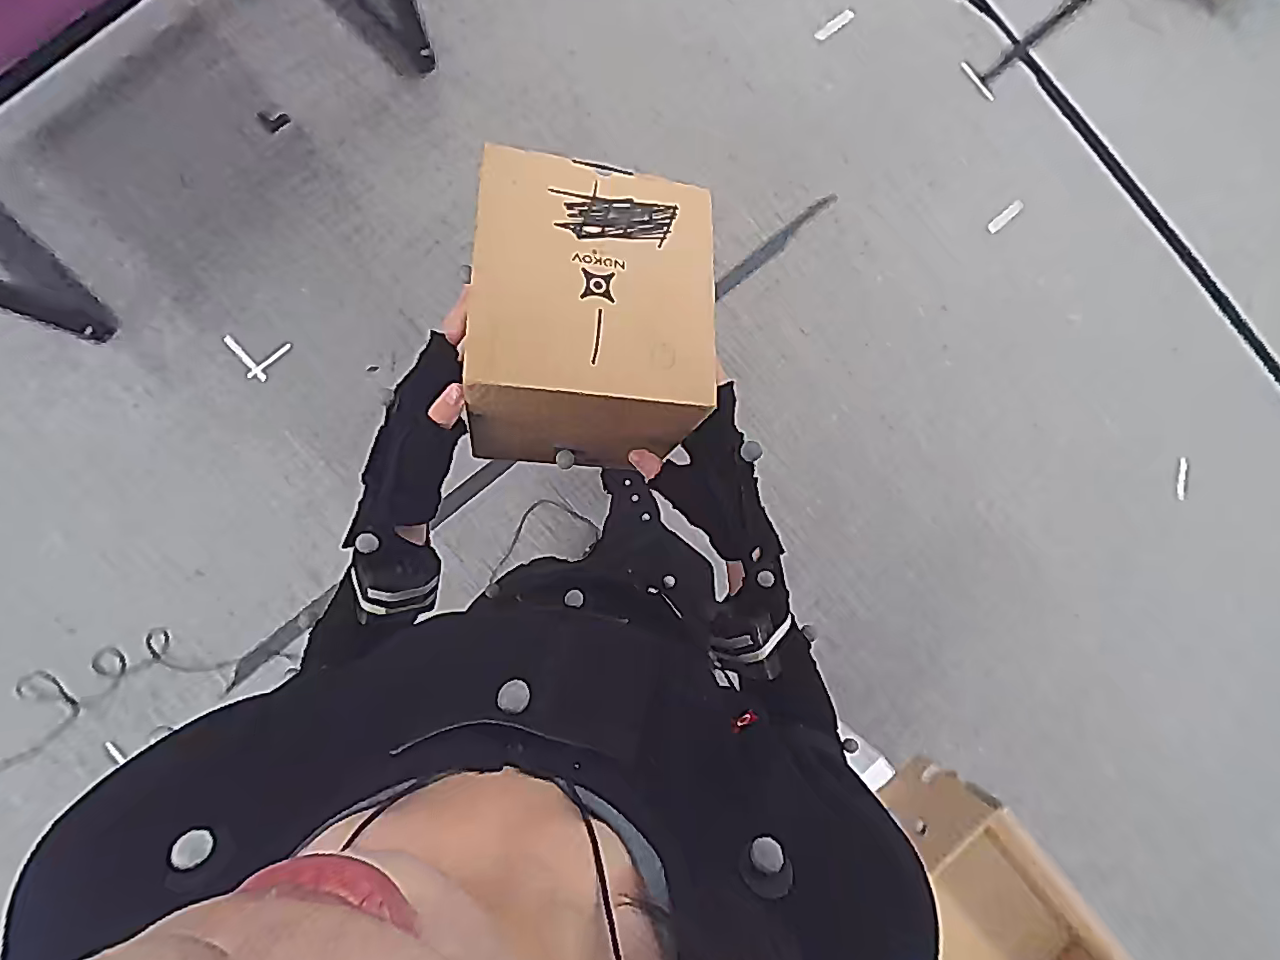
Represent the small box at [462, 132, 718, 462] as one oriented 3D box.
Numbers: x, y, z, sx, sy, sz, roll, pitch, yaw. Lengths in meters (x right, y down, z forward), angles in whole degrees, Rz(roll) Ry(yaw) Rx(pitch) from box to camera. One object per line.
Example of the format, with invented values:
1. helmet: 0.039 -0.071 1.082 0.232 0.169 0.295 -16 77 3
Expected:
1. small box: -0.048 -0.126 0.435 0.168 0.176 0.179 3 75 -14
